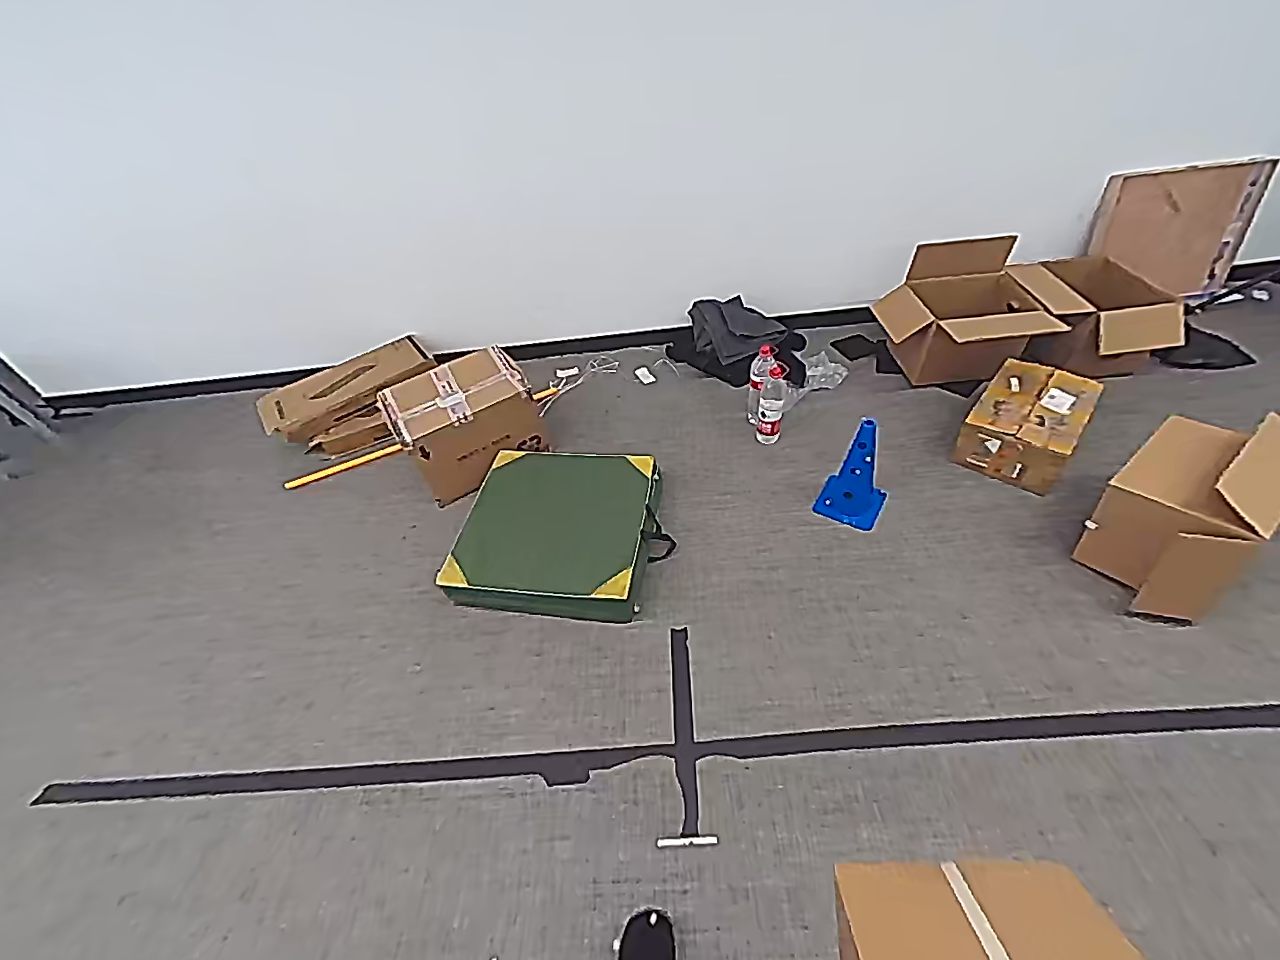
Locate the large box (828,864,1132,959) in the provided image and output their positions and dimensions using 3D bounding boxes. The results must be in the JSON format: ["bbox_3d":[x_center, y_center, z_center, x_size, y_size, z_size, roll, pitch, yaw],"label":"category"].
[{"bbox_3d":[0.414,0.712,0.577,0.320,0.320,0.408,-7,7,7],"label":"large box"}]
